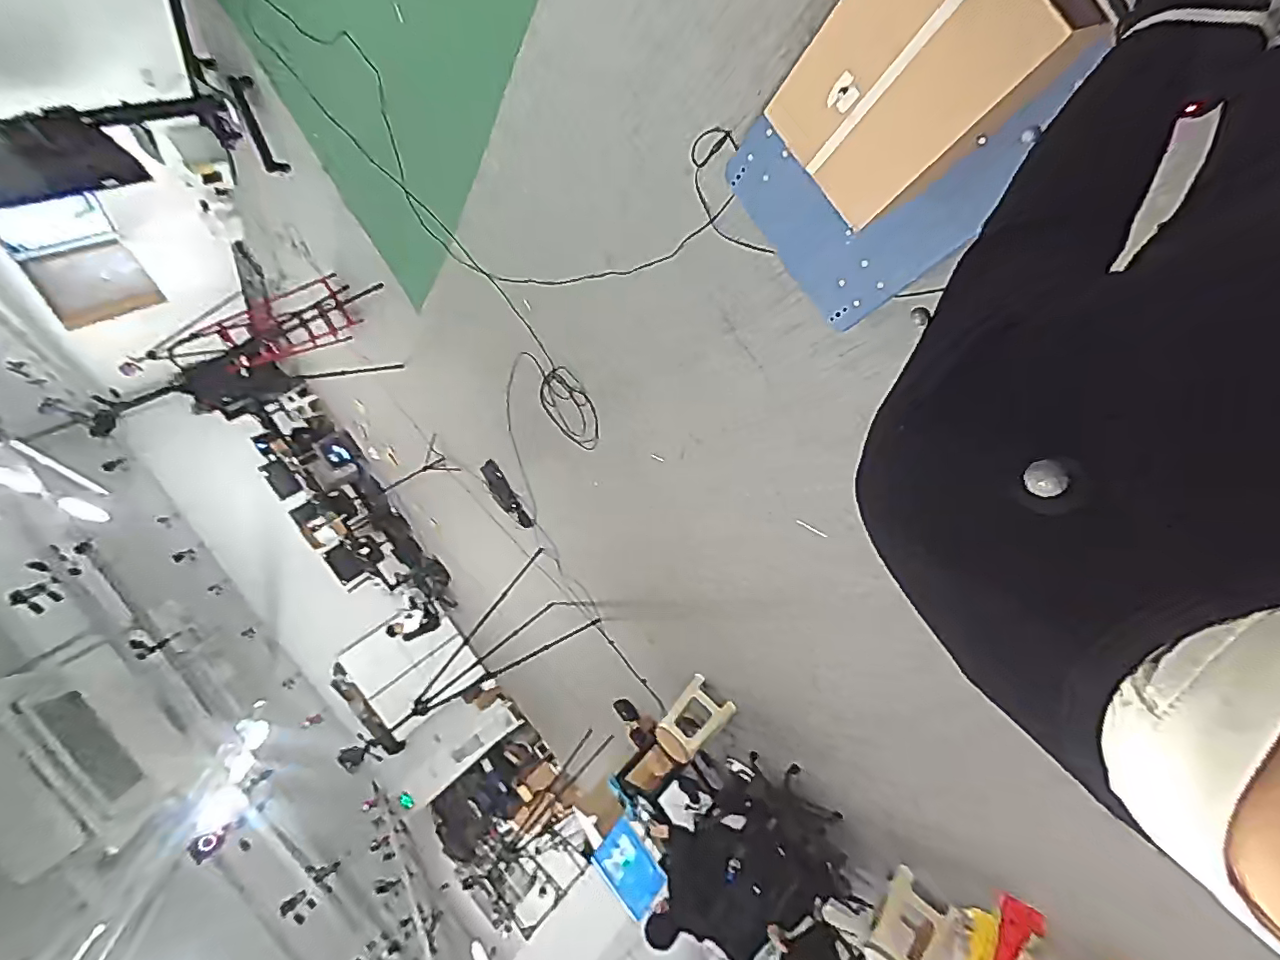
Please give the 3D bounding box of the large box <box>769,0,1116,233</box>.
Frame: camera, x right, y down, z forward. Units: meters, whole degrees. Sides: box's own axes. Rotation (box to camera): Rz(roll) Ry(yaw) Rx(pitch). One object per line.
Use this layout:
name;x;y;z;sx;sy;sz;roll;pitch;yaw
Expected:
large box;0.532;-0.757;0.997;0.320;0.320;0.408;54;149;0
